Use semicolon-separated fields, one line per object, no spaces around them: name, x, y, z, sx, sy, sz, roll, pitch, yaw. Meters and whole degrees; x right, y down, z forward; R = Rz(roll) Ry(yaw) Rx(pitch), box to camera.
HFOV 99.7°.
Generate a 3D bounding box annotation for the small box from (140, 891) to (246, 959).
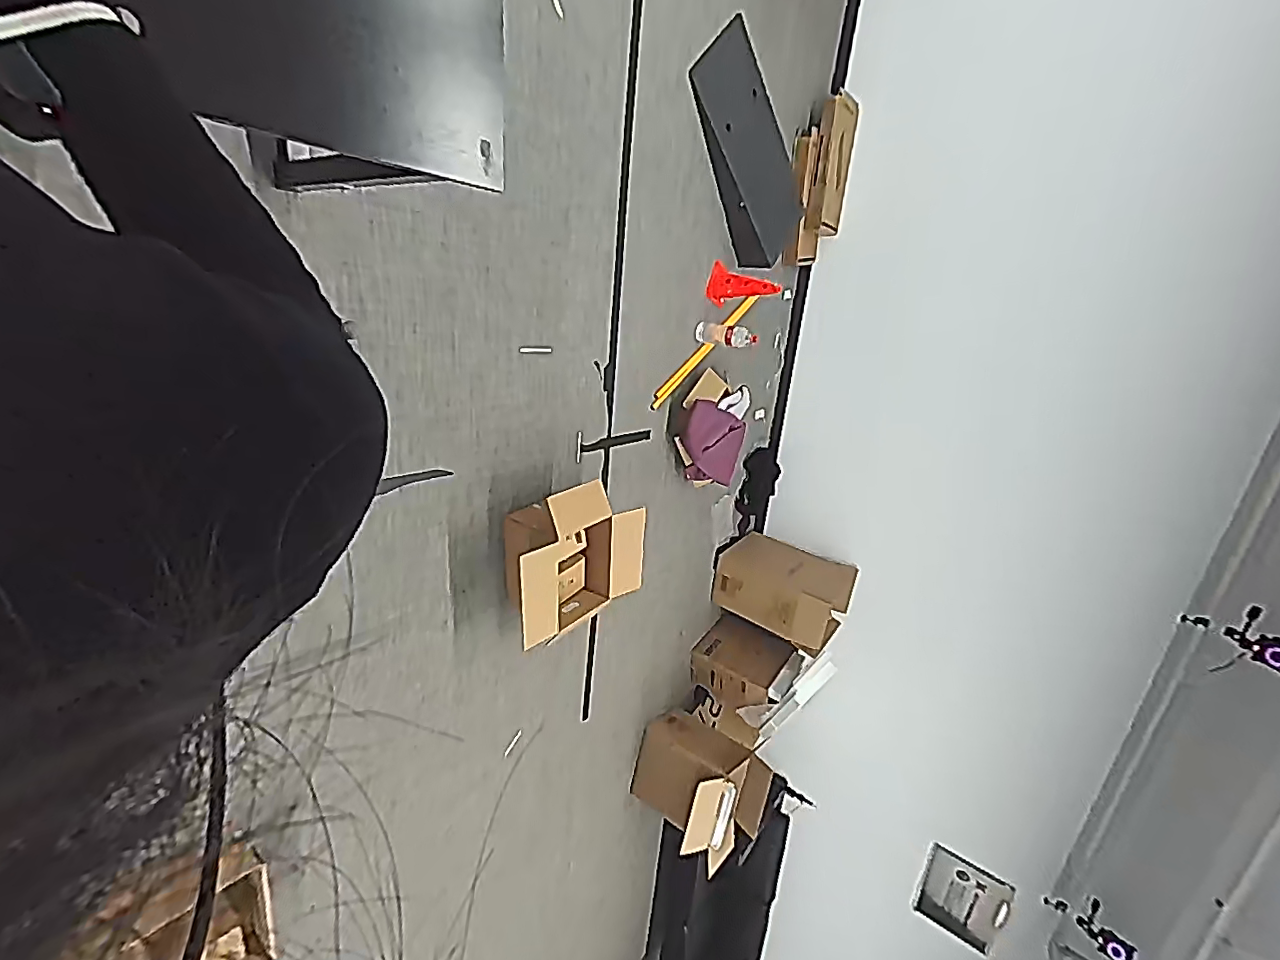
small box;-1.181;1.256;1.433;0.179;0.176;0.168;-15;115;-50
